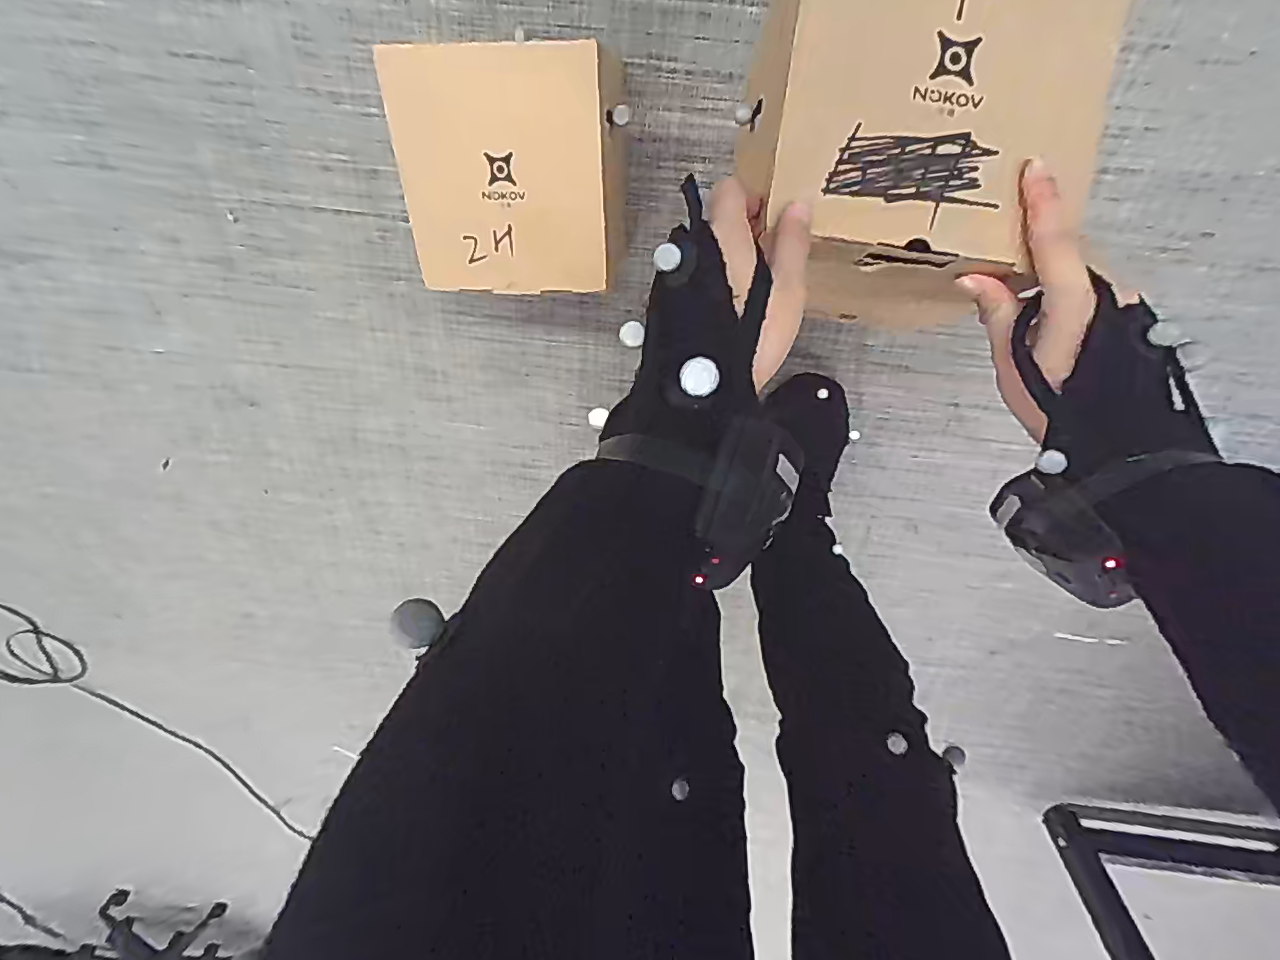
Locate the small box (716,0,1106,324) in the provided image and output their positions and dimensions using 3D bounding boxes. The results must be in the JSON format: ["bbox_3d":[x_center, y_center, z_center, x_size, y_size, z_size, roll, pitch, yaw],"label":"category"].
[{"bbox_3d":[0.149,-0.211,0.360,0.168,0.176,0.179,7,96,-1],"label":"small box"}]

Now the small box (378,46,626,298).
[{"bbox_3d":[-0.105,-0.280,0.501,0.168,0.176,0.179,2,124,5],"label":"small box"}]
